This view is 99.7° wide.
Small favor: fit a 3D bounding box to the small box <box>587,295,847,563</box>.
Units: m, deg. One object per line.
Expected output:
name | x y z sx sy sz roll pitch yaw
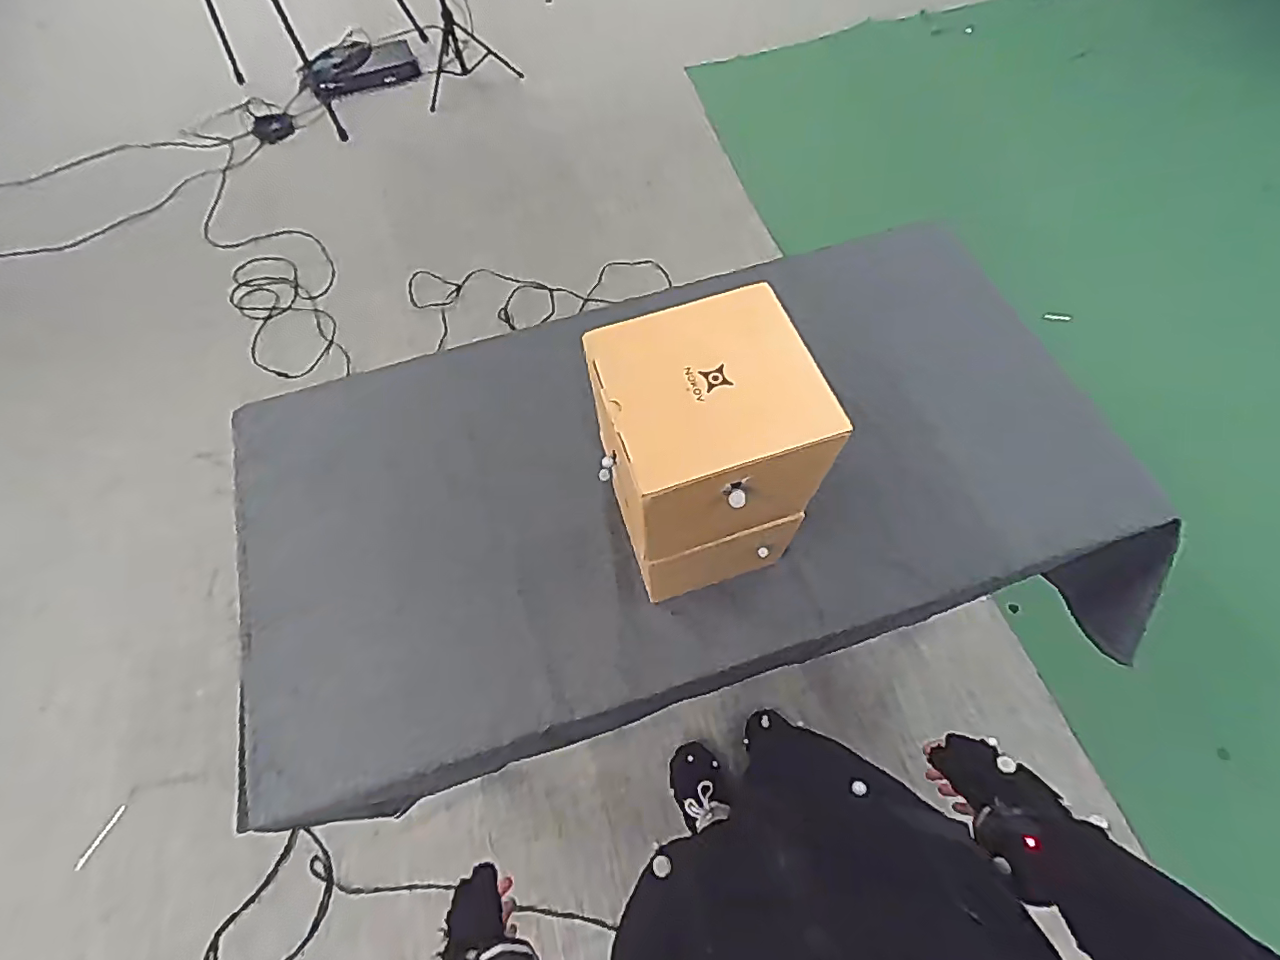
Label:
small box | 0.061 -0.040 0.519 0.179 0.176 0.168 -18 64 -5
